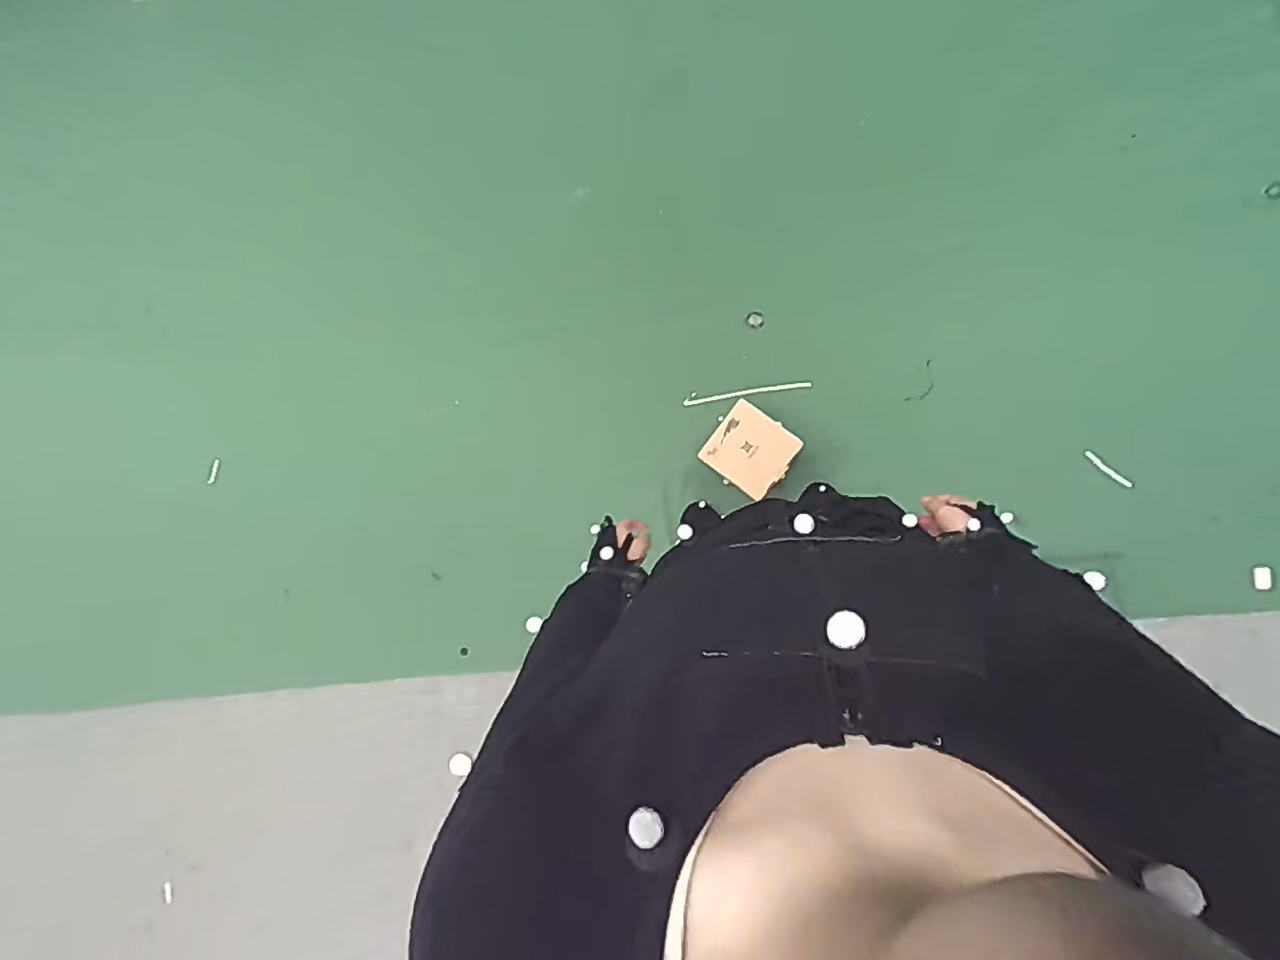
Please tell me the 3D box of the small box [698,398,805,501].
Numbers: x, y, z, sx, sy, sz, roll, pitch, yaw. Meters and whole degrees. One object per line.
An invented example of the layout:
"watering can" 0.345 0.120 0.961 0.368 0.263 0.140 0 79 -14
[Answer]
"small box" 0.259 -0.071 1.269 0.179 0.176 0.168 38 97 8
